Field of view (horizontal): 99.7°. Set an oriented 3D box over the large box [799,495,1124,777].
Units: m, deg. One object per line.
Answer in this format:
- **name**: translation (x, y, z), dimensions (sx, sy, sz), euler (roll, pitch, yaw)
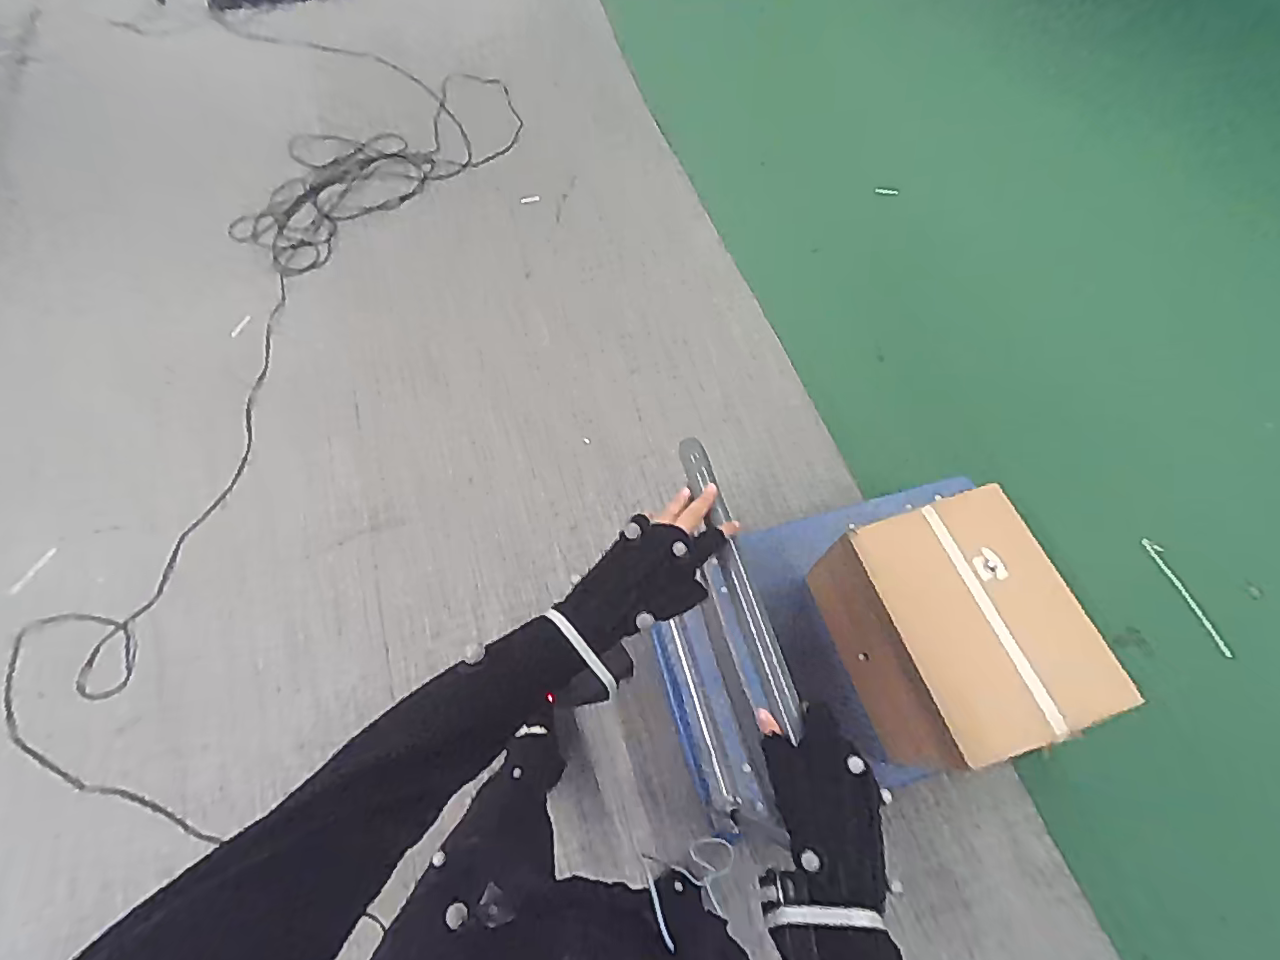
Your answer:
- **large box**: translation (0.560, 0.304, 1.044), dimensions (0.320, 0.320, 0.408), euler (-16, 64, -7)
